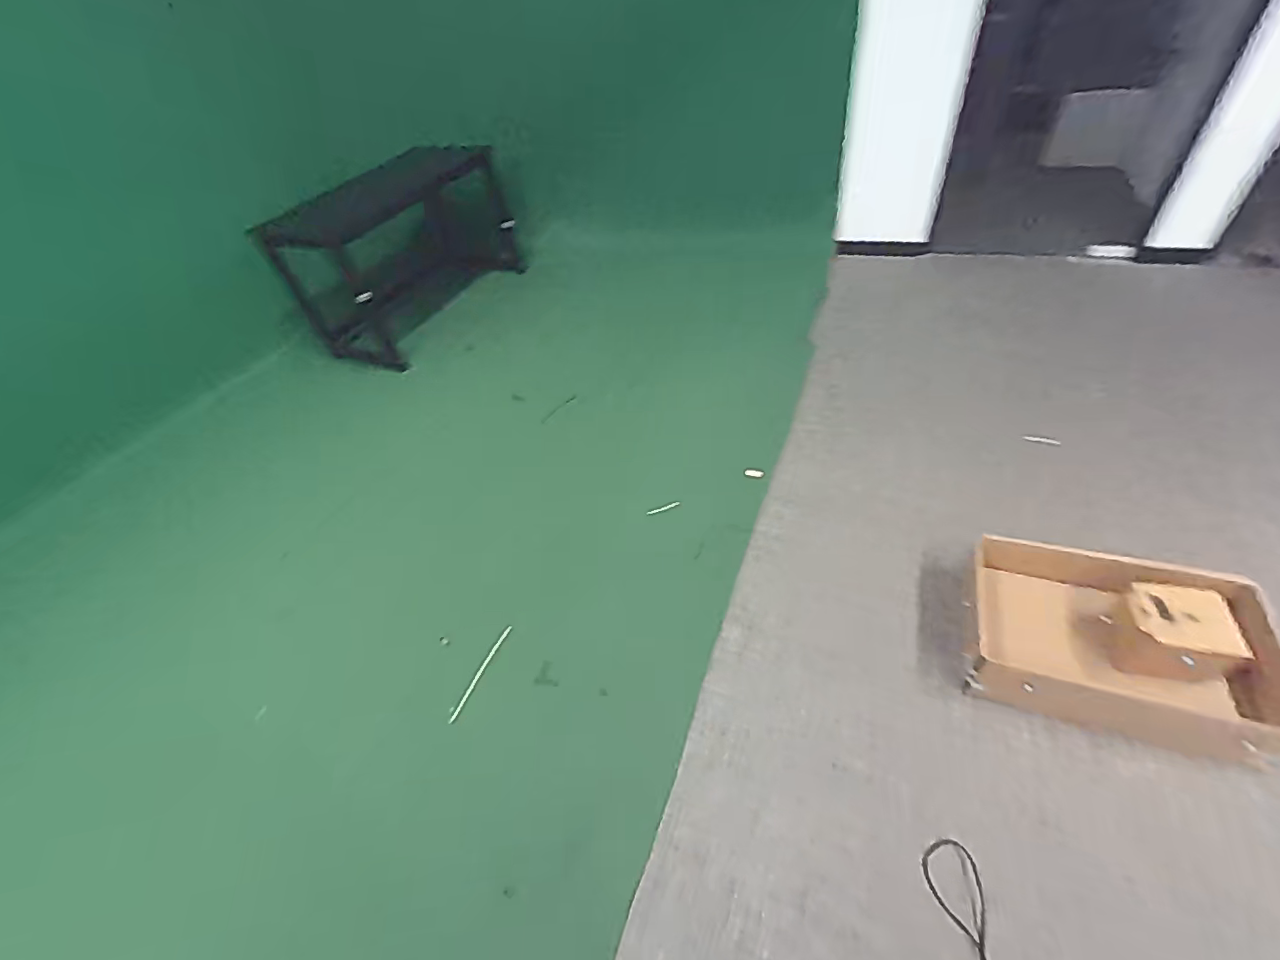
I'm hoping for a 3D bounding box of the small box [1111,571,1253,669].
[{"bbox_3d":[1.298,0.344,1.318,0.179,0.176,0.168,4,49,16],"label":"small box"}]
